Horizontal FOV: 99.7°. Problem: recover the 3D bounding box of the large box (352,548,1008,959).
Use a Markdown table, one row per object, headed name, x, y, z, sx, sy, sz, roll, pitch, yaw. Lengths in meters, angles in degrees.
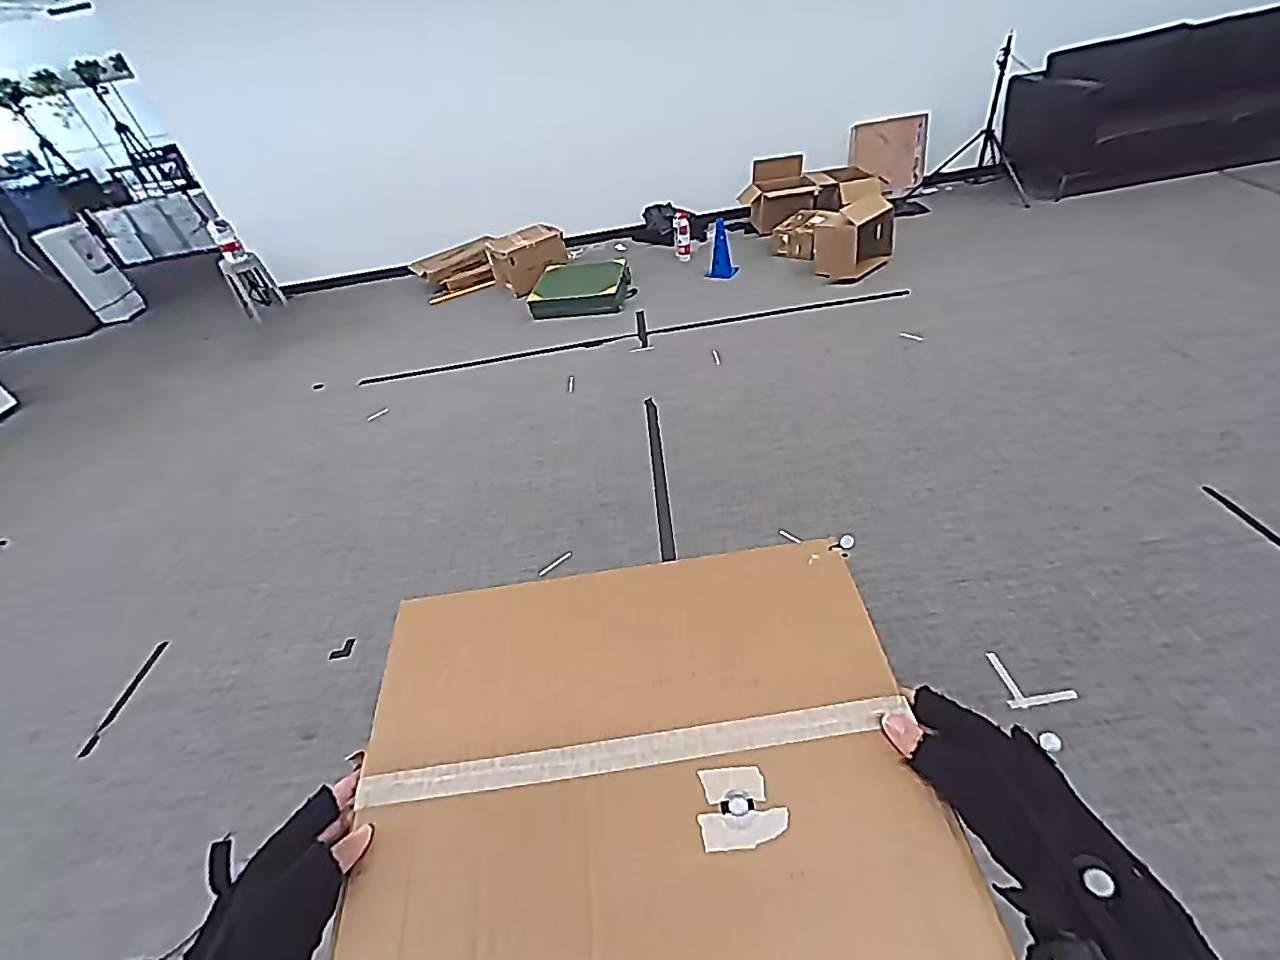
| name | x | y | z | sx | sy | sz | roll | pitch | yaw |
| --- | --- | --- | --- | --- | --- | --- | --- | --- | --- |
| large box | 0.015 | 0.305 | 0.516 | 0.408 | 0.320 | 0.320 | -8 | 49 | 0 |
